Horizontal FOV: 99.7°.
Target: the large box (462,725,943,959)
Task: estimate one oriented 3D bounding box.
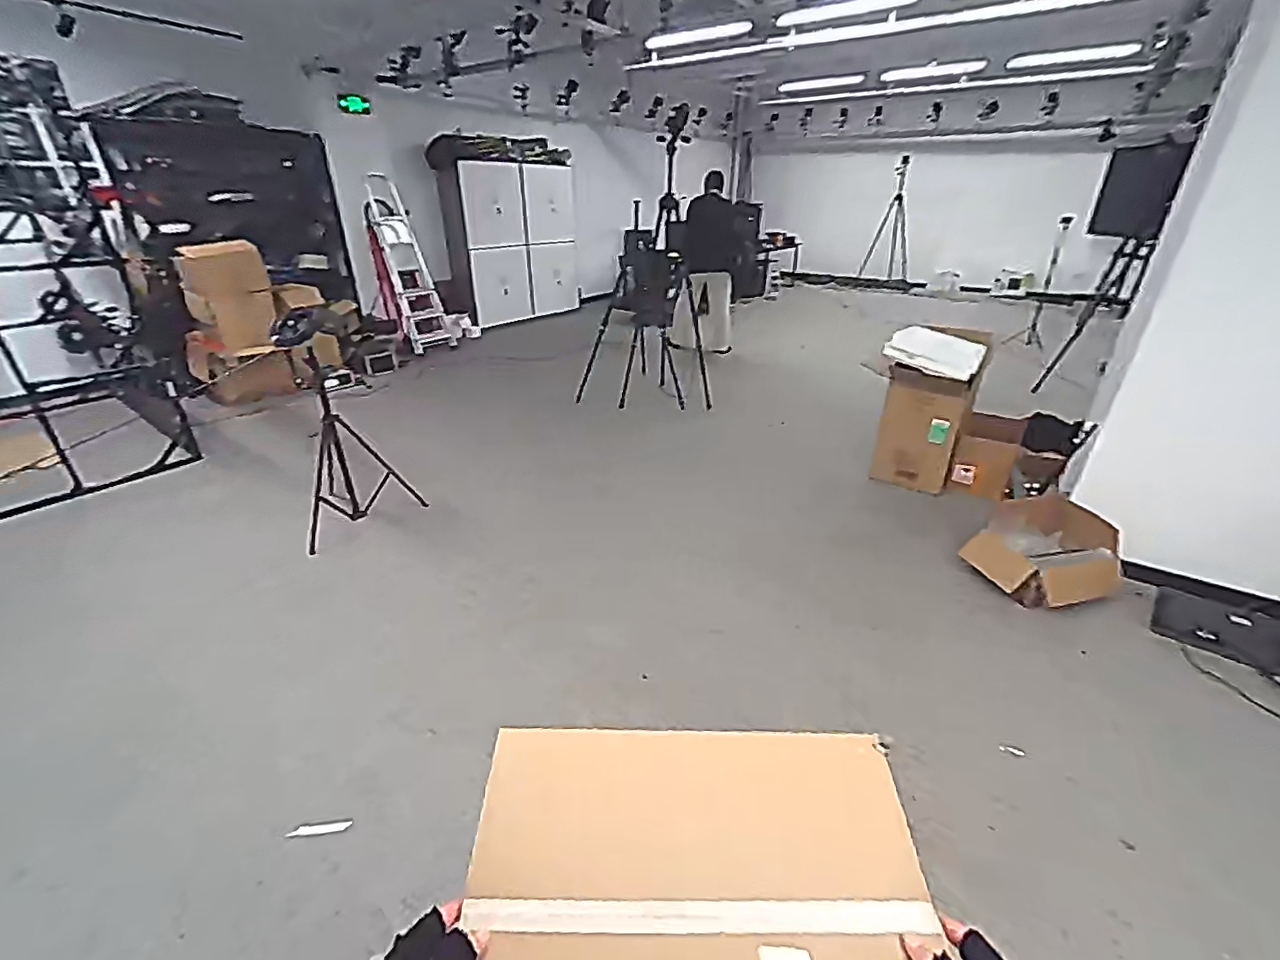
[{"bbox_3d":[0.046,0.480,0.566,0.408,0.320,0.320,1,42,-2],"label":"large box"}]
